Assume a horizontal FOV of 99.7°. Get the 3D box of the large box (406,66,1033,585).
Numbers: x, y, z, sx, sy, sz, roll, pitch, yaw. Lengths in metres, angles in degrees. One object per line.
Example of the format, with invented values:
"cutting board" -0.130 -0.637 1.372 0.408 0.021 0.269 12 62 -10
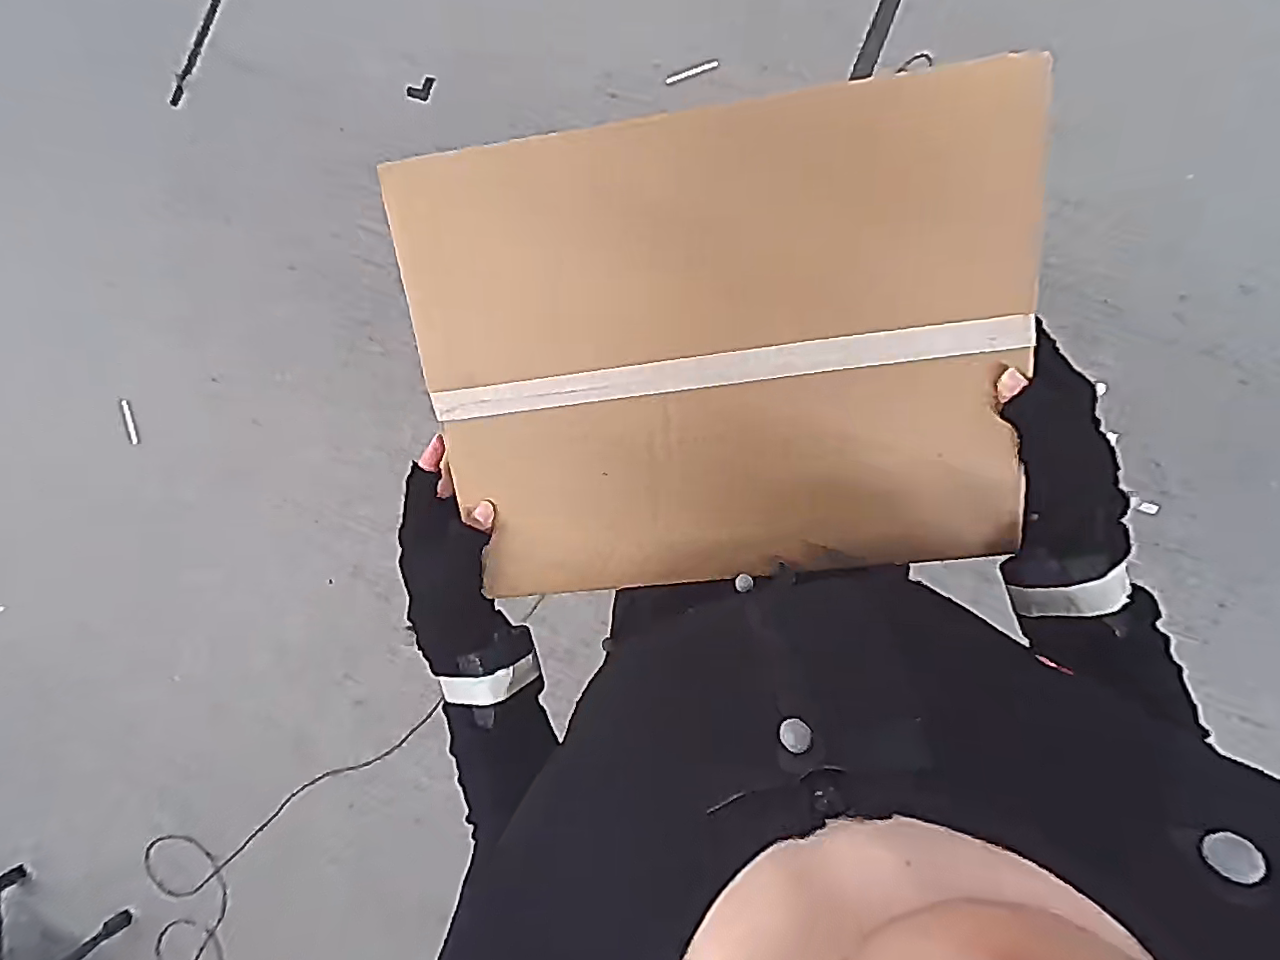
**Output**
"large box" 0.065 -0.121 0.523 0.408 0.320 0.320 -5 107 6
